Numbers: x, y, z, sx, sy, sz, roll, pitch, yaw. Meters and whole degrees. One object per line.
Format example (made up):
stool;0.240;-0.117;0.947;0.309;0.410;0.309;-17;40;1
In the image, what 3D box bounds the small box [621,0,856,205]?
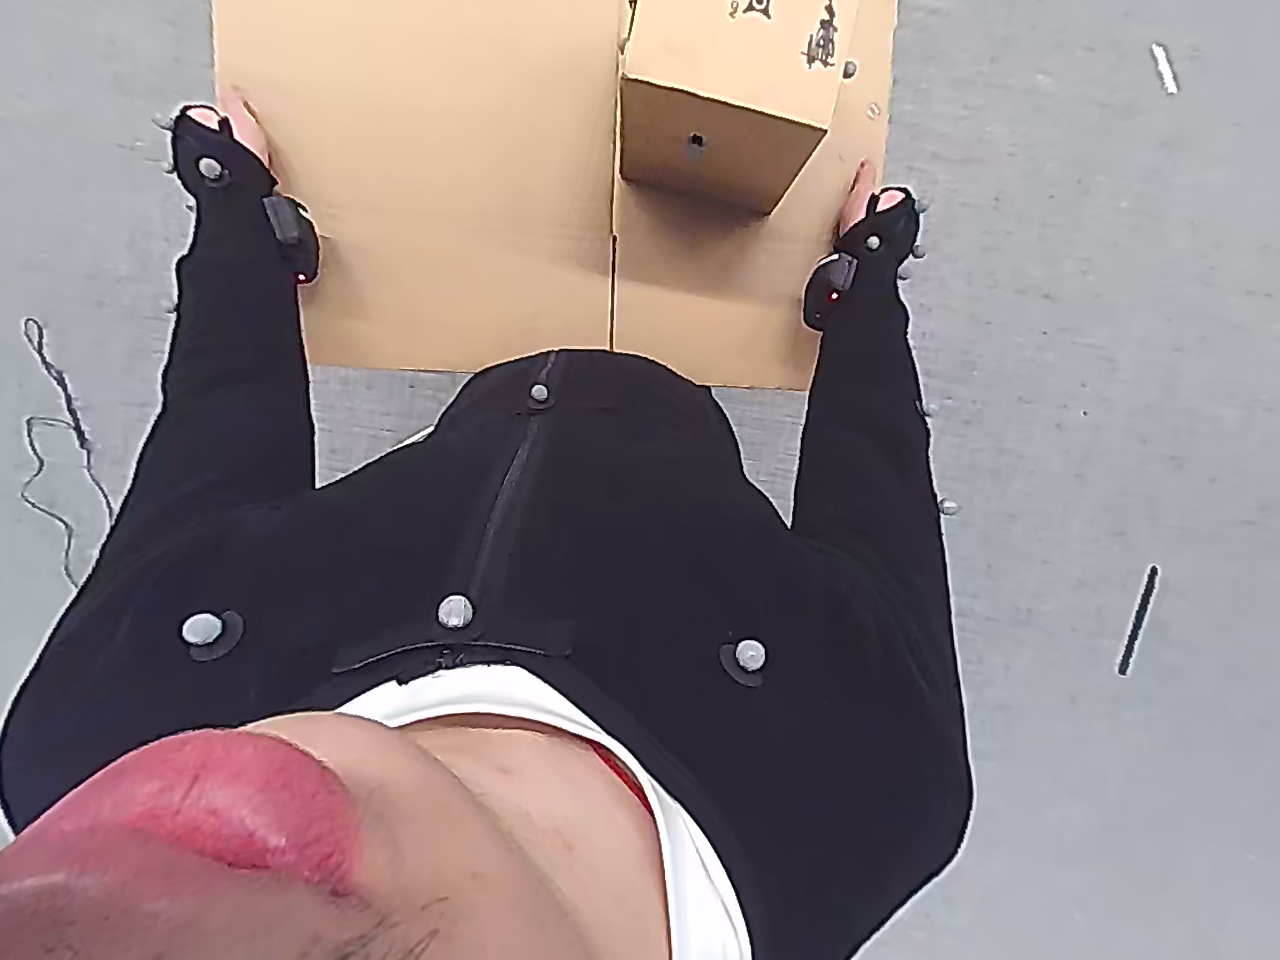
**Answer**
small box;0.084;-0.390;0.514;0.179;0.176;0.168;12;95;-2
